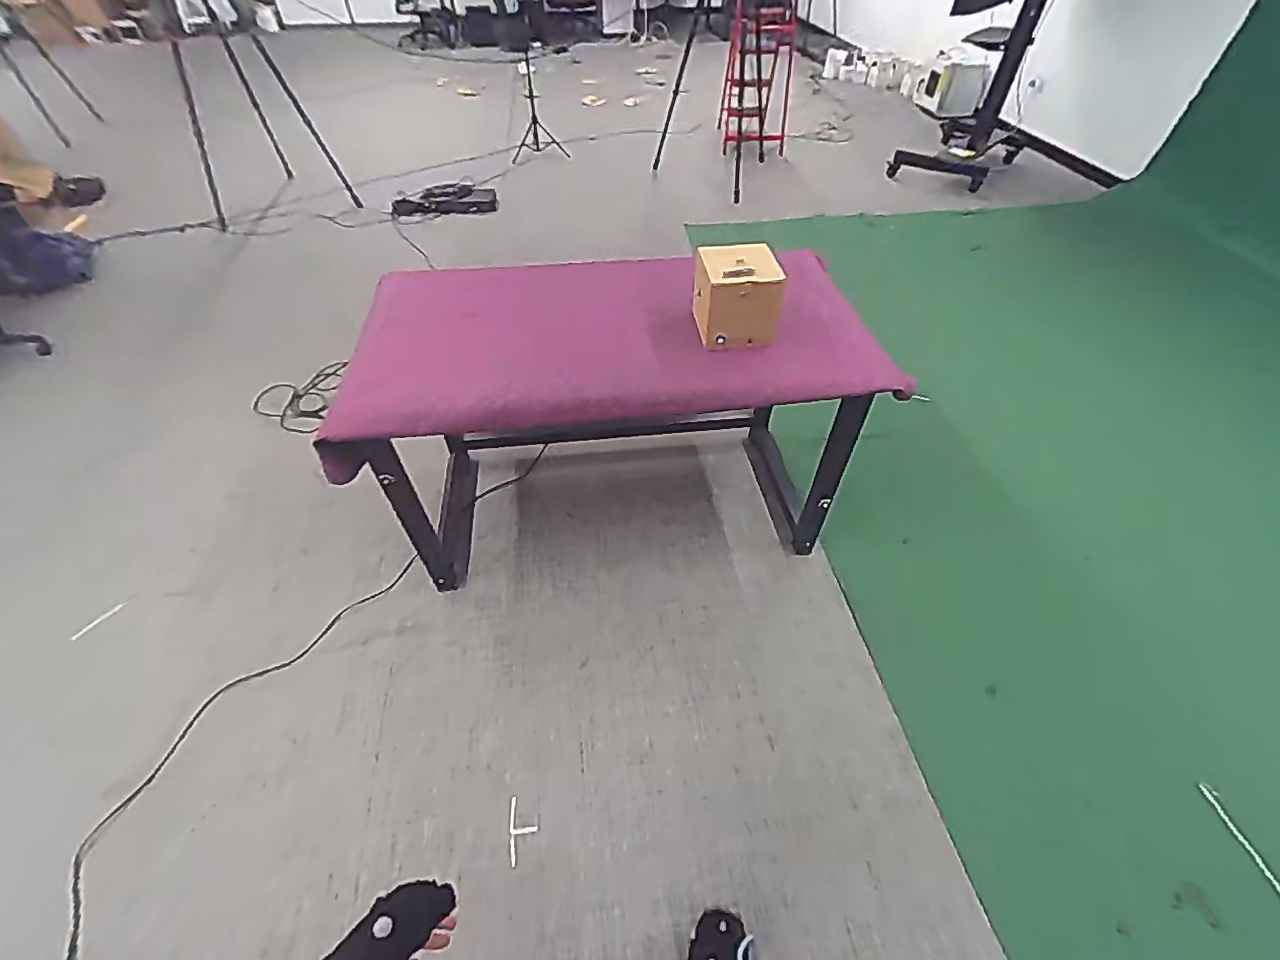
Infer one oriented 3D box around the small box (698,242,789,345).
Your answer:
[{"bbox_3d":[0.229,-0.427,1.248,0.168,0.176,0.179,-1,49,-3],"label":"small box"}]
